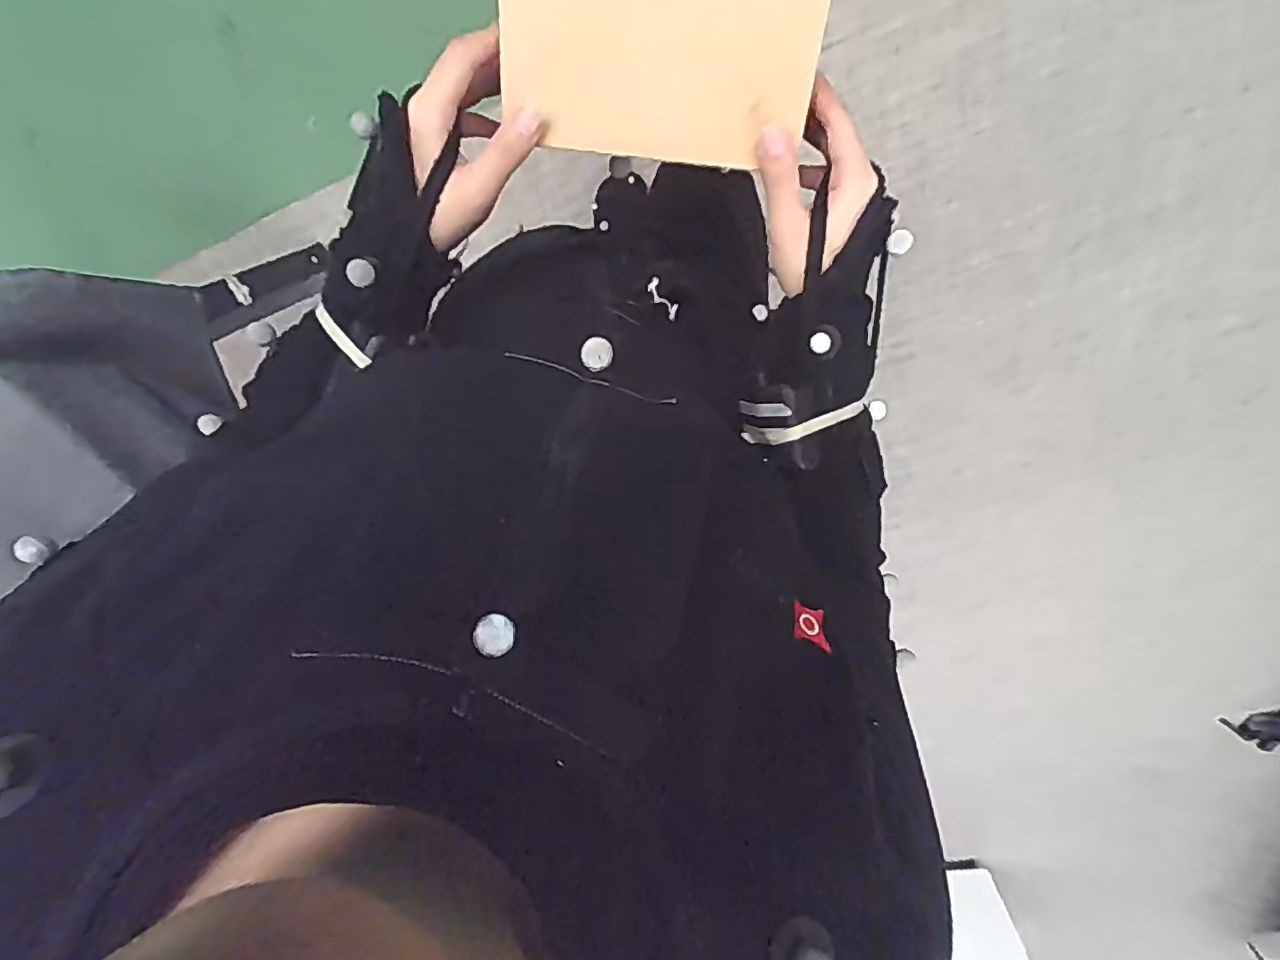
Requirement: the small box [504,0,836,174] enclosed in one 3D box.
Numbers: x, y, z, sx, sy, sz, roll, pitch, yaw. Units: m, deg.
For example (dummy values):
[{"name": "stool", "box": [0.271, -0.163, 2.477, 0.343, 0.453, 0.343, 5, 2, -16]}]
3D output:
[{"name": "small box", "box": [0.021, -0.295, 0.321, 0.168, 0.176, 0.179, 6, 122, -1]}]
